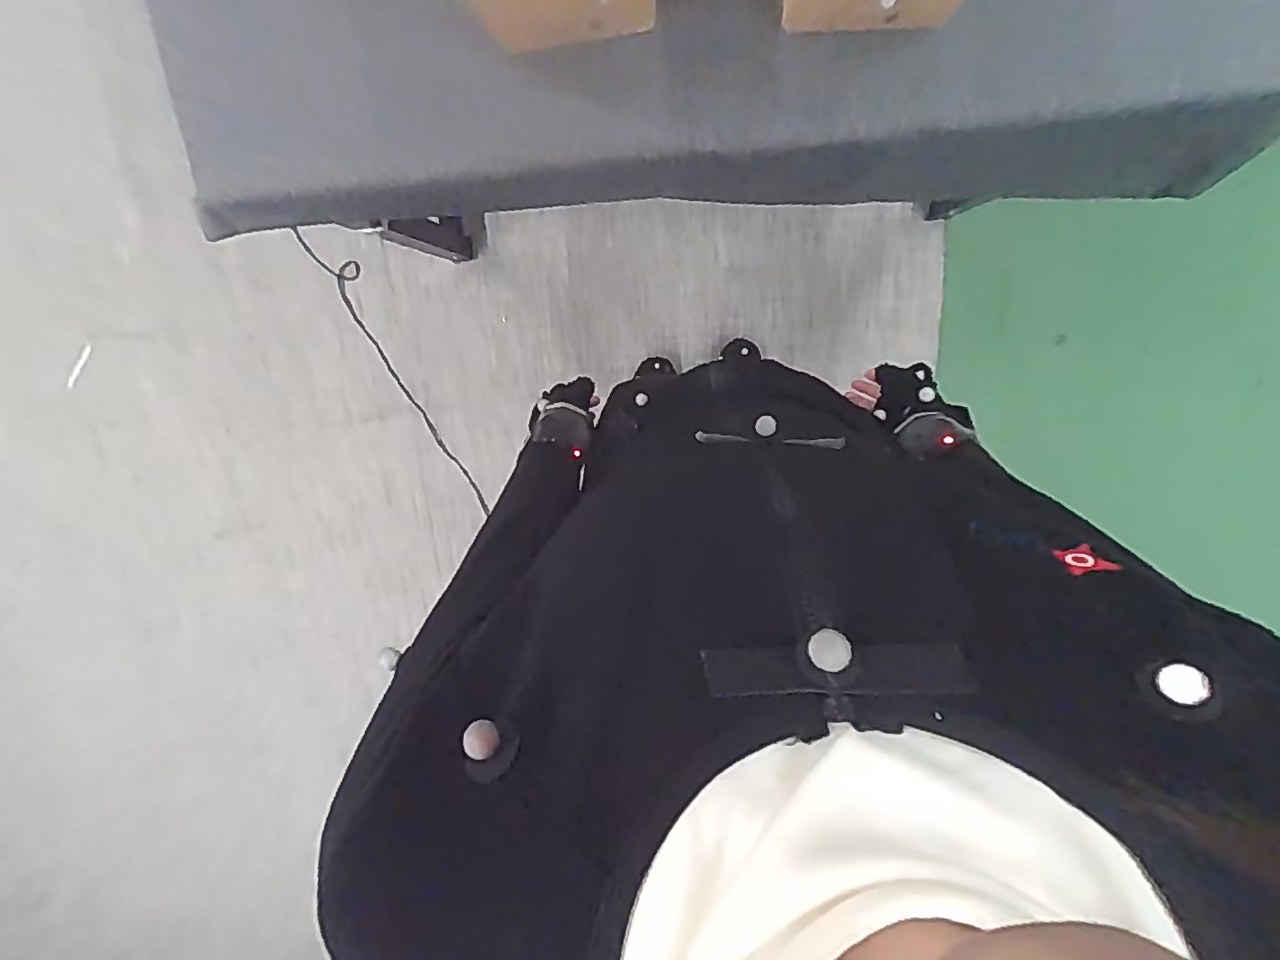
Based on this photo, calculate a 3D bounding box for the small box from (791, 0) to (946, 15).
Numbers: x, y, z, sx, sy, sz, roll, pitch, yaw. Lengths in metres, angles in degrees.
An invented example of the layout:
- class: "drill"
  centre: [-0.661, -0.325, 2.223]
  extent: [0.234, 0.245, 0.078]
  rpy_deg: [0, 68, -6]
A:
- class: "small box"
  centre: [0.222, -0.534, 0.457]
  extent: [0.168, 0.176, 0.179]
  rpy_deg: [0, 106, 3]

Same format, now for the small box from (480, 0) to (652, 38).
- class: "small box"
  centre: [-0.080, -0.533, 0.478]
  extent: [0.168, 0.176, 0.179]
  rpy_deg: [-7, 104, 4]
